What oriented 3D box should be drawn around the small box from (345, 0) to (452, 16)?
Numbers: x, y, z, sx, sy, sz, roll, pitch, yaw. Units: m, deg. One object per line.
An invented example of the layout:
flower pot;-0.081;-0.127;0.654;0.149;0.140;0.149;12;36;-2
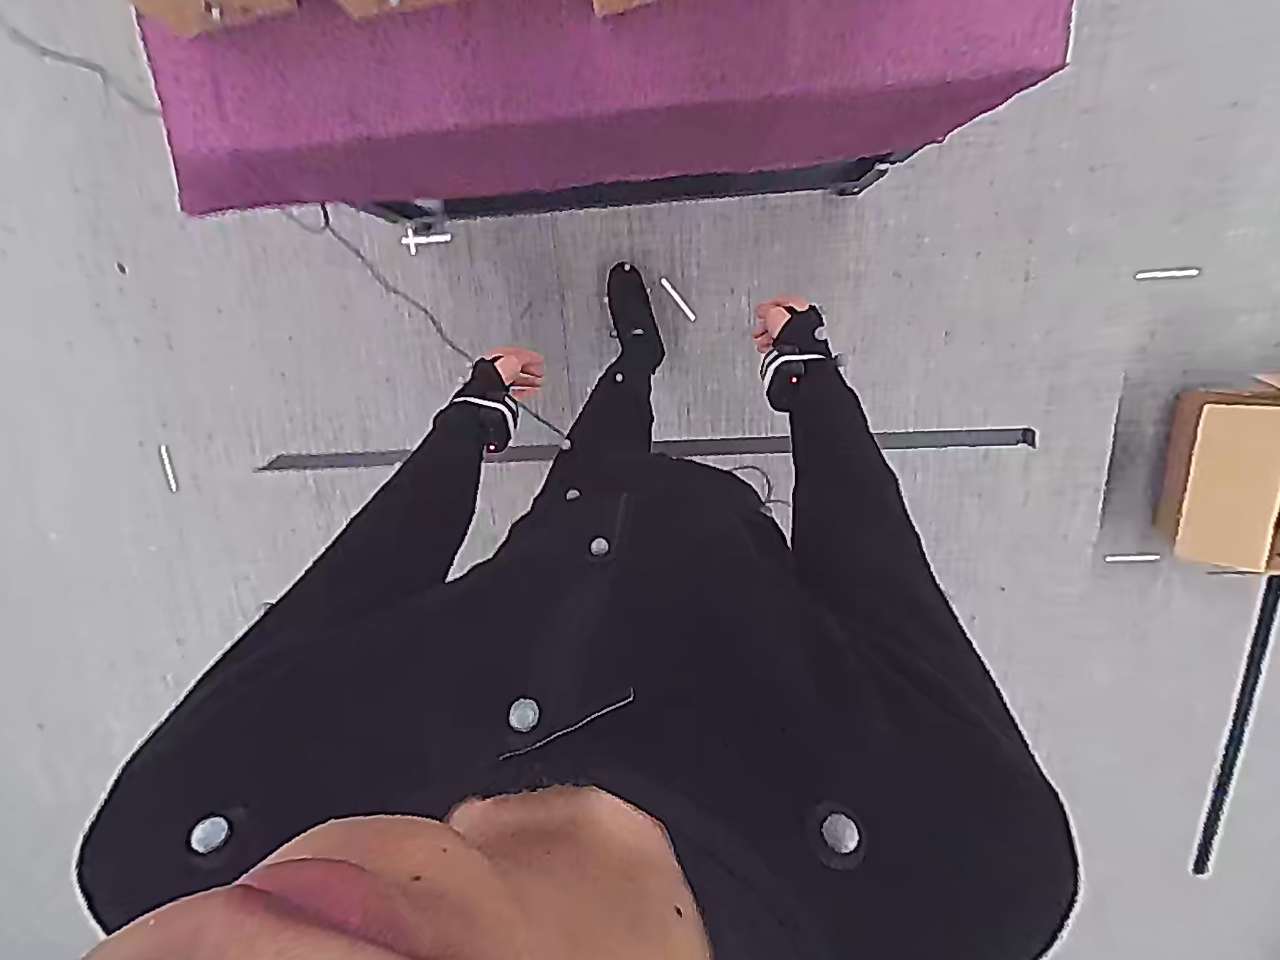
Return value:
small box;-0.309;-0.667;0.591;0.168;0.176;0.179;-7;106;5
